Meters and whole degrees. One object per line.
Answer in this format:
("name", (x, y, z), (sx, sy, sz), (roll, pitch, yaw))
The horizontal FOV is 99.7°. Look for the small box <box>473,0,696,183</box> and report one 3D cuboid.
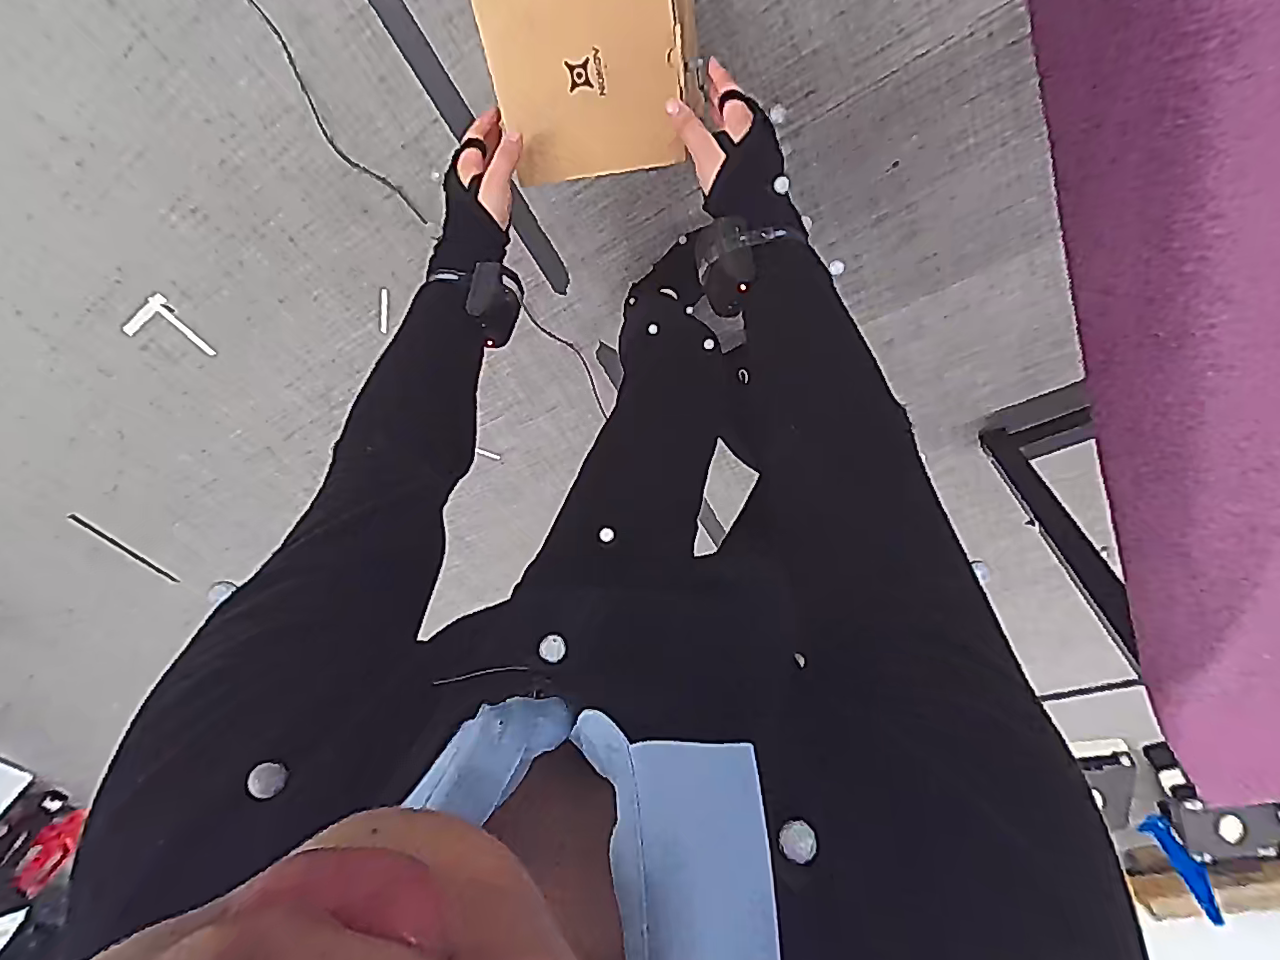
("small box", (-0.039, -0.420, 0.548), (0.179, 0.176, 0.168), (-4, 130, 11))
